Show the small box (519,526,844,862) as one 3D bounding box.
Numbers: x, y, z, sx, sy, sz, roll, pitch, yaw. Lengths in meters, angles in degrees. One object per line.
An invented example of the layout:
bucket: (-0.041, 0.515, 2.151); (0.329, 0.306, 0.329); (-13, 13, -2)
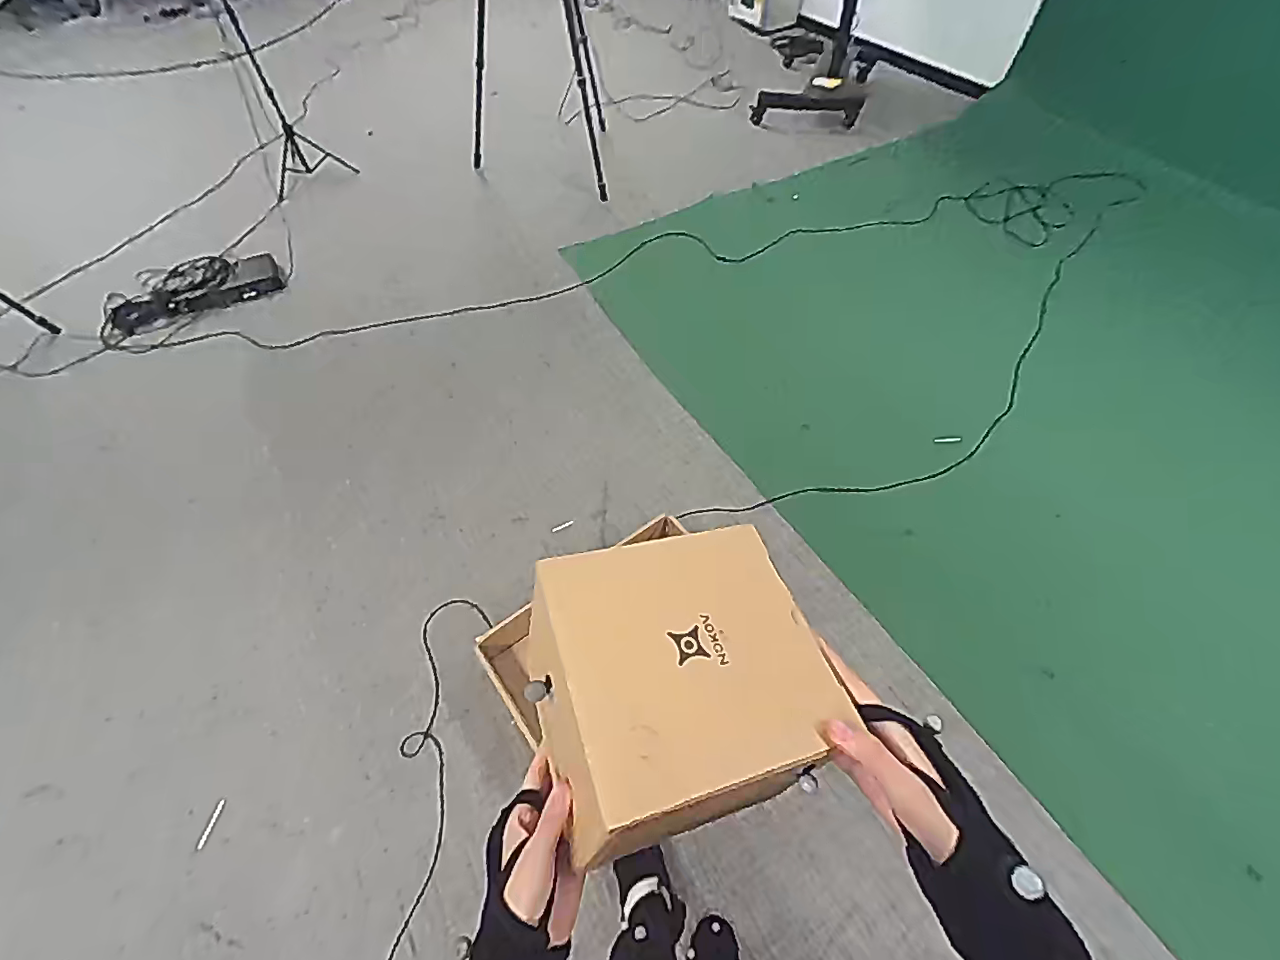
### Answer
small box: (0.009, 0.161, 0.412); (0.179, 0.176, 0.168); (-8, 52, -22)
